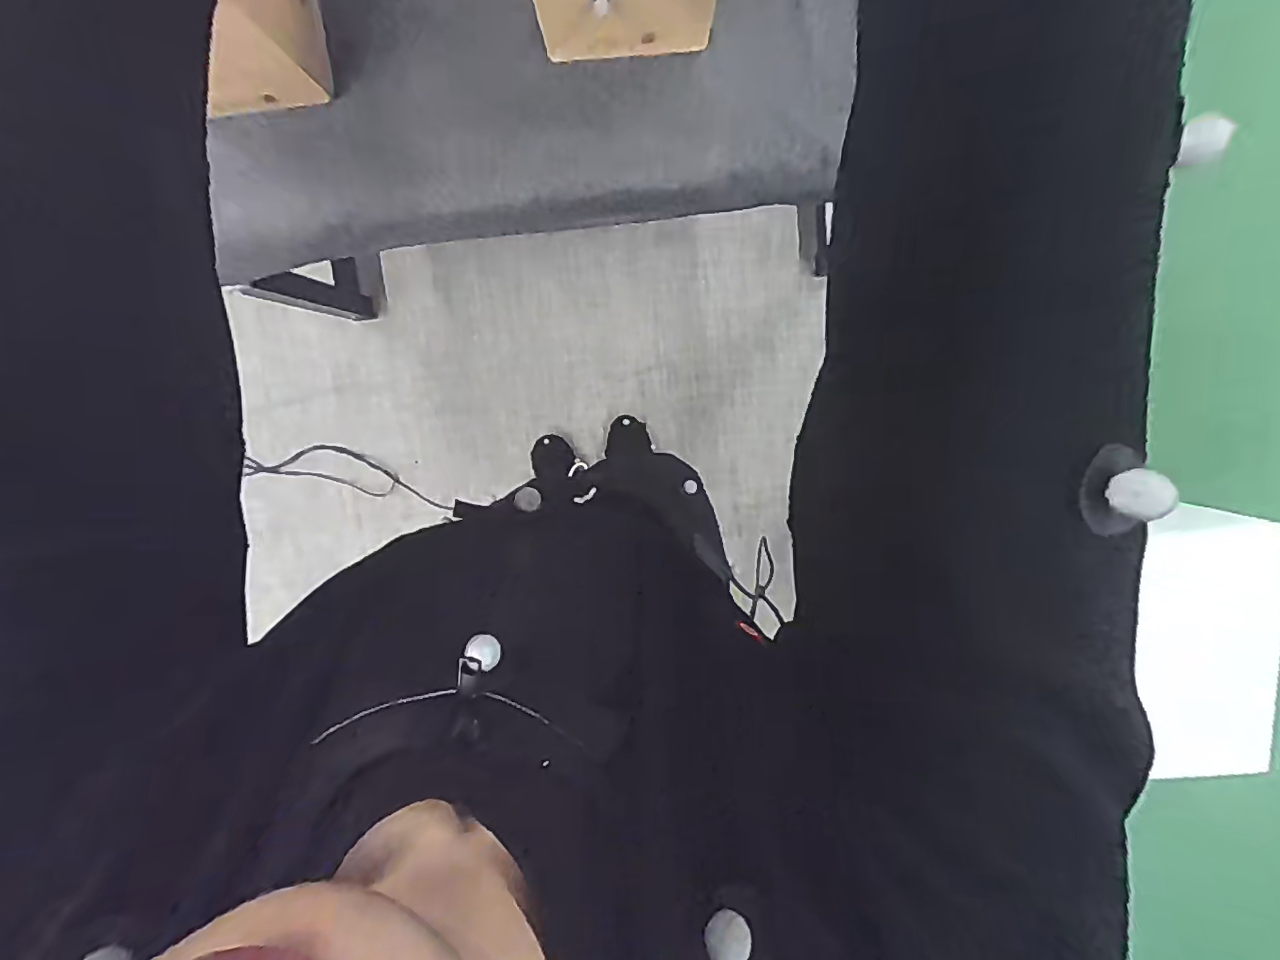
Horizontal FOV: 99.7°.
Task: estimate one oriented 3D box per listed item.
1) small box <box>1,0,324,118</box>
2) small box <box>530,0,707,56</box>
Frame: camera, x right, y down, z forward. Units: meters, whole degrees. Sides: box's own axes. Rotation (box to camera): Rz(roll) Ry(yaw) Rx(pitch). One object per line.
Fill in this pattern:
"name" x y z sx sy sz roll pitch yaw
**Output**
"small box" -0.418 -0.464 0.480 0.168 0.176 0.179 -6 98 1
"small box" -0.022 -0.513 0.476 0.168 0.176 0.179 -4 98 1
